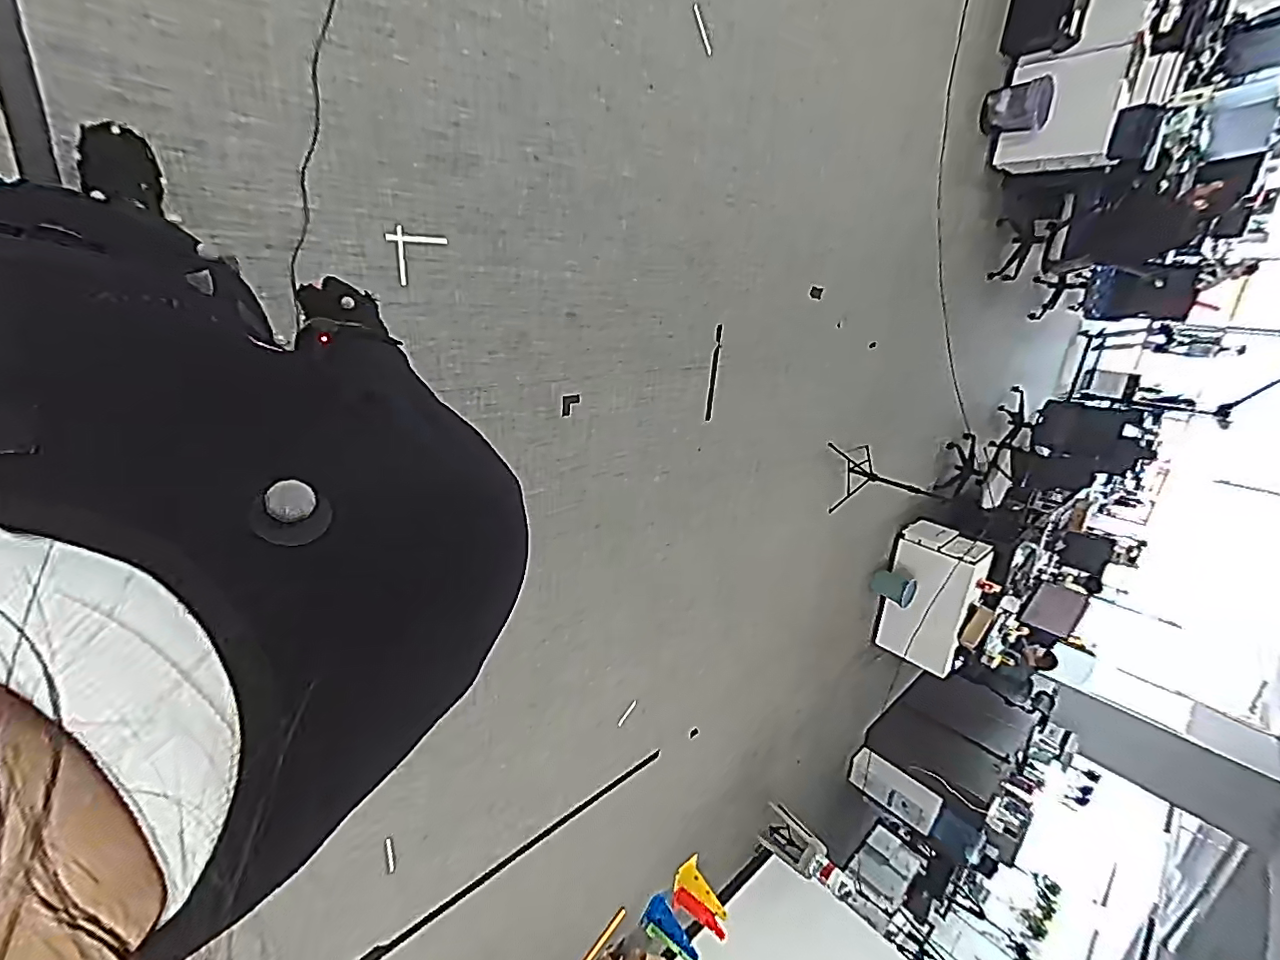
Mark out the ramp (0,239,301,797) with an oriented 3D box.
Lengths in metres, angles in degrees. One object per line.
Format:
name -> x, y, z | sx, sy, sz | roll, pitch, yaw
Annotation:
ramp -> -1.022, 0.064, 1.066 | 0.509, 0.206, 0.991 | -13, 115, -39
